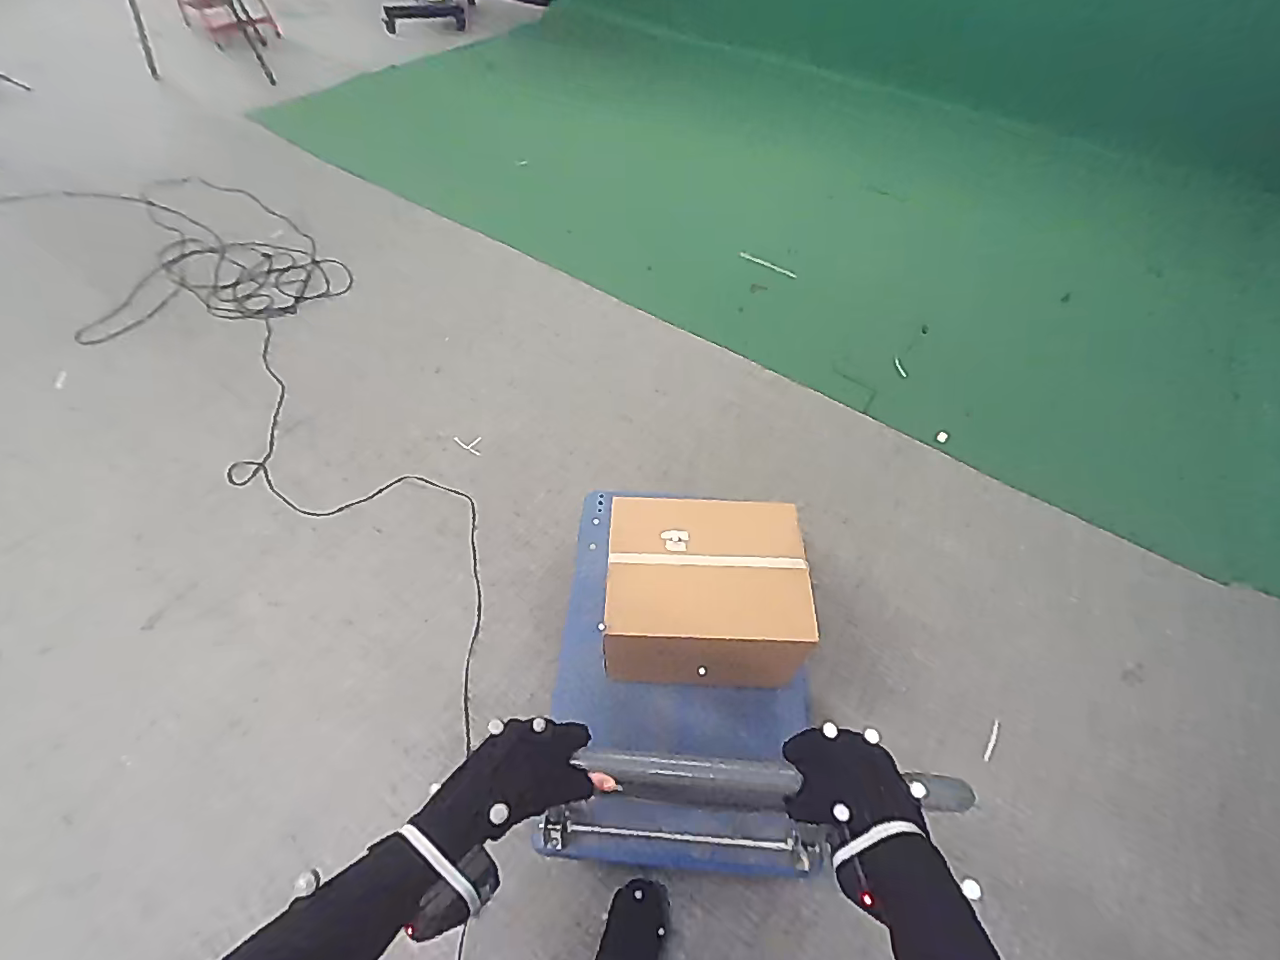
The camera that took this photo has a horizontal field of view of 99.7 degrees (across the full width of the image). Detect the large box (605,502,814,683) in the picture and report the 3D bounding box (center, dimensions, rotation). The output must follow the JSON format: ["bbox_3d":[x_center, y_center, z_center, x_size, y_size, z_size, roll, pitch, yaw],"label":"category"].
[{"bbox_3d":[0.131,0.262,1.222,0.408,0.320,0.320,1,53,-1],"label":"large box"}]
